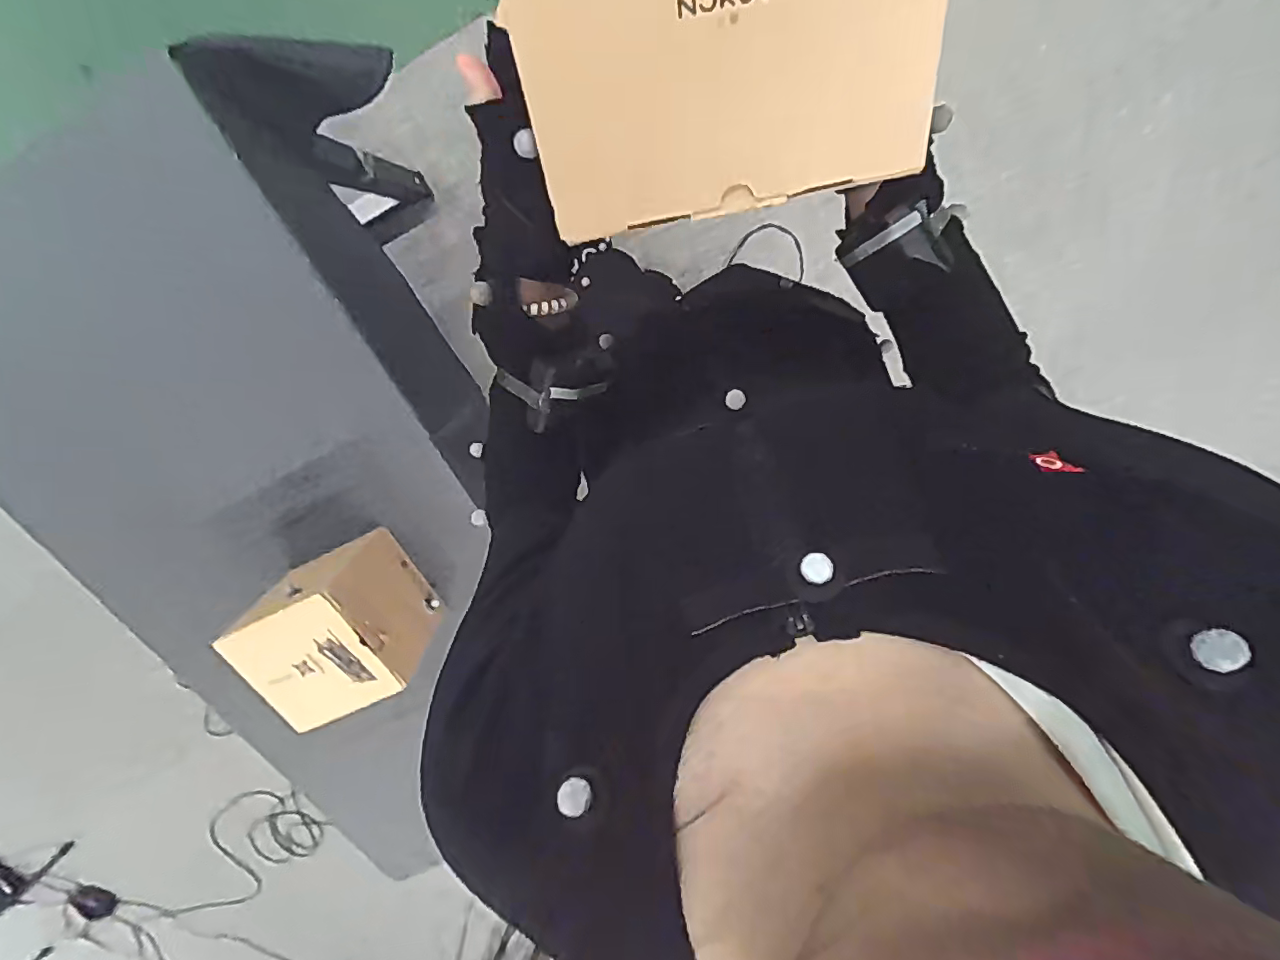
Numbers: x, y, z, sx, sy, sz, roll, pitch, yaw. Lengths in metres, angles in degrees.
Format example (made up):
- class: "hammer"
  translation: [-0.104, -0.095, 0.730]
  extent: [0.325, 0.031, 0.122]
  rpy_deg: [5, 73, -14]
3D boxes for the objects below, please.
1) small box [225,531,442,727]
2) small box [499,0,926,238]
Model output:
- class: "small box"
  translation: [-0.401, 0.198, 0.752]
  extent: [0.179, 0.176, 0.168]
  rpy_deg: [-25, 110, 11]
- class: "small box"
  translation: [0.024, -0.245, 0.263]
  extent: [0.168, 0.176, 0.179]
  rpy_deg: [-9, 129, 6]
